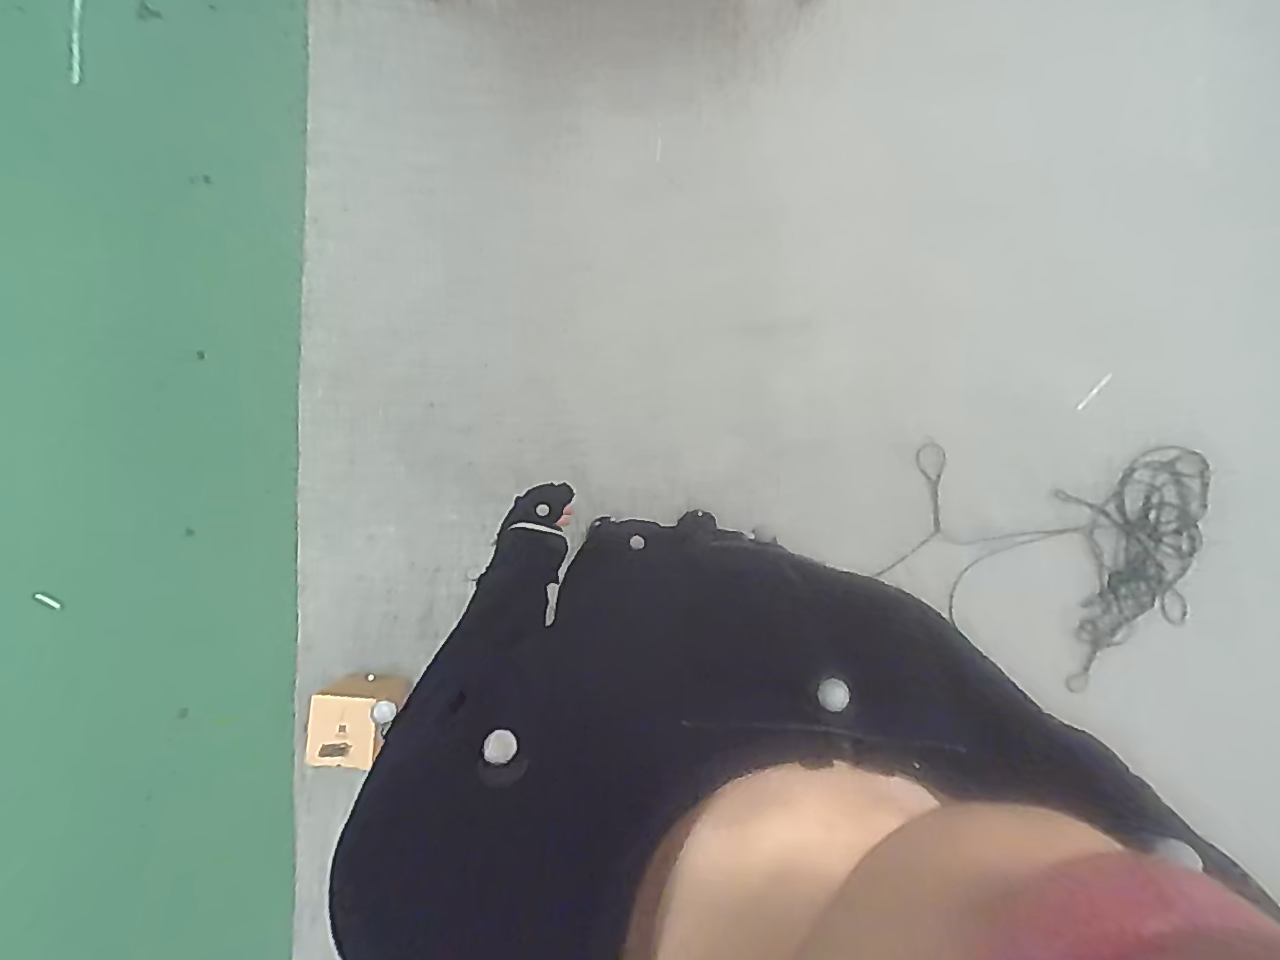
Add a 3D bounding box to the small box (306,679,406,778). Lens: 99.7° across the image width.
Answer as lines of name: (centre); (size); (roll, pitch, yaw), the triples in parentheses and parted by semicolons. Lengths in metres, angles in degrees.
small box: (-0.720, 0.630, 1.387); (0.168, 0.176, 0.179); (4, 86, 1)
